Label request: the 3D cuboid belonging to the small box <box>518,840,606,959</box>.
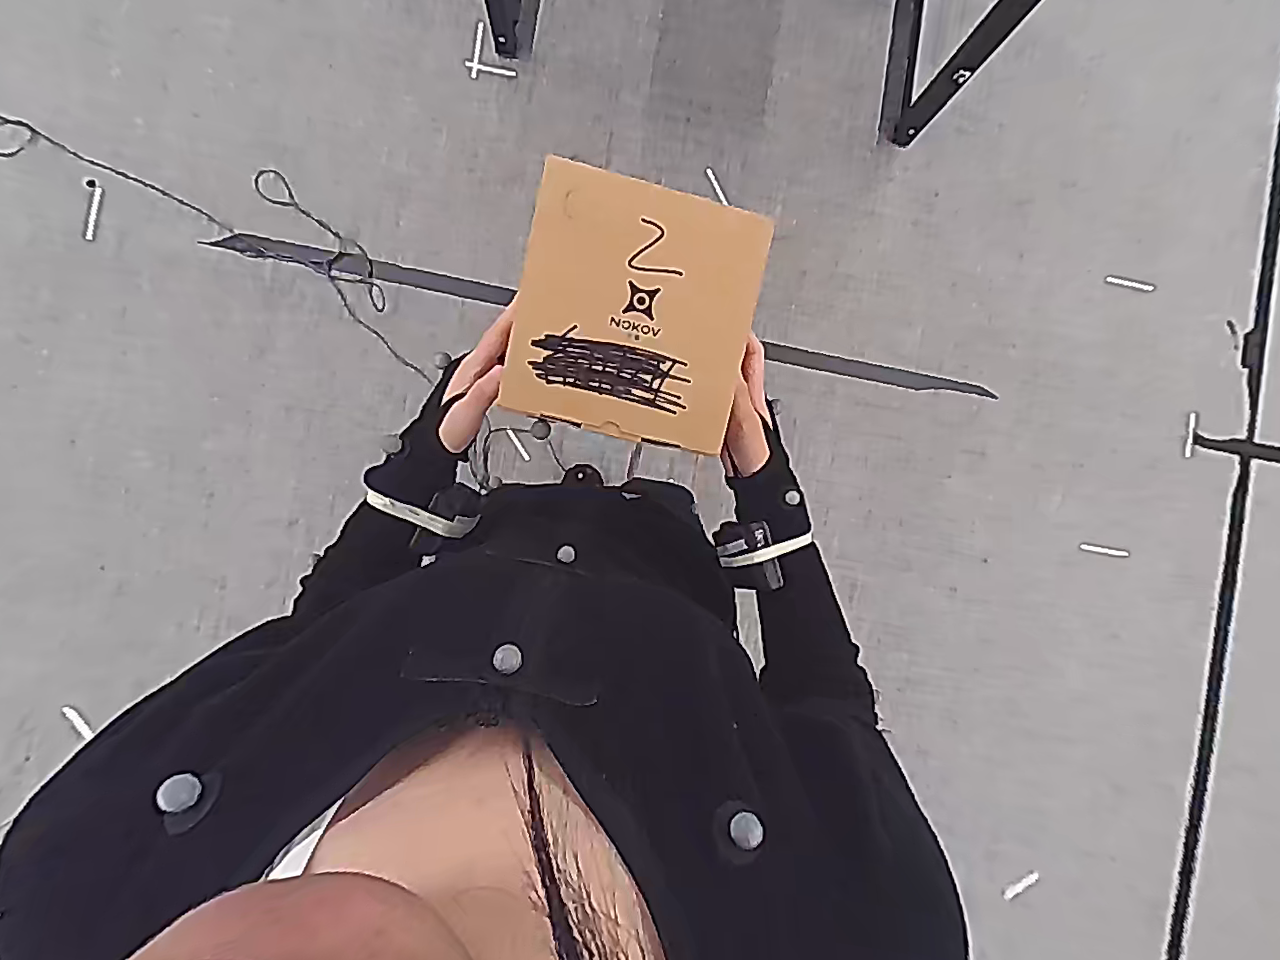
[{"bbox_3d":[-0.197,1.065,1.384,0.179,0.176,0.168,17,88,-6],"label":"small box"}]
